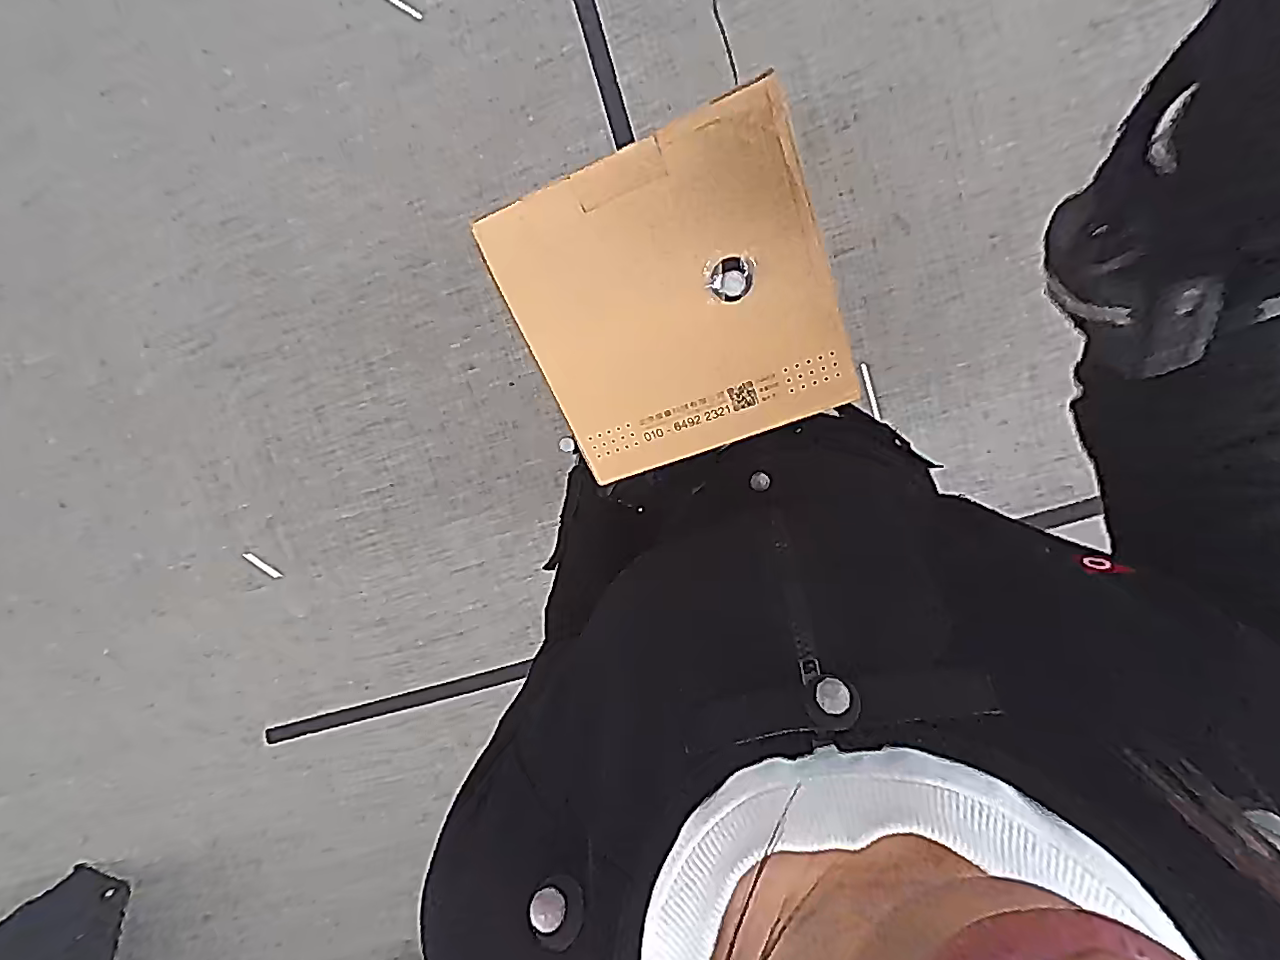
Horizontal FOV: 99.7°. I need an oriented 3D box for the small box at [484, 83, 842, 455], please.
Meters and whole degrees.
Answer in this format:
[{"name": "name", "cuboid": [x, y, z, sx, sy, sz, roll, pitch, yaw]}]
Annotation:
[{"name": "small box", "cuboid": [0.028, -0.134, 0.379, 0.168, 0.179, 0.176, -17, 115, 17]}]
